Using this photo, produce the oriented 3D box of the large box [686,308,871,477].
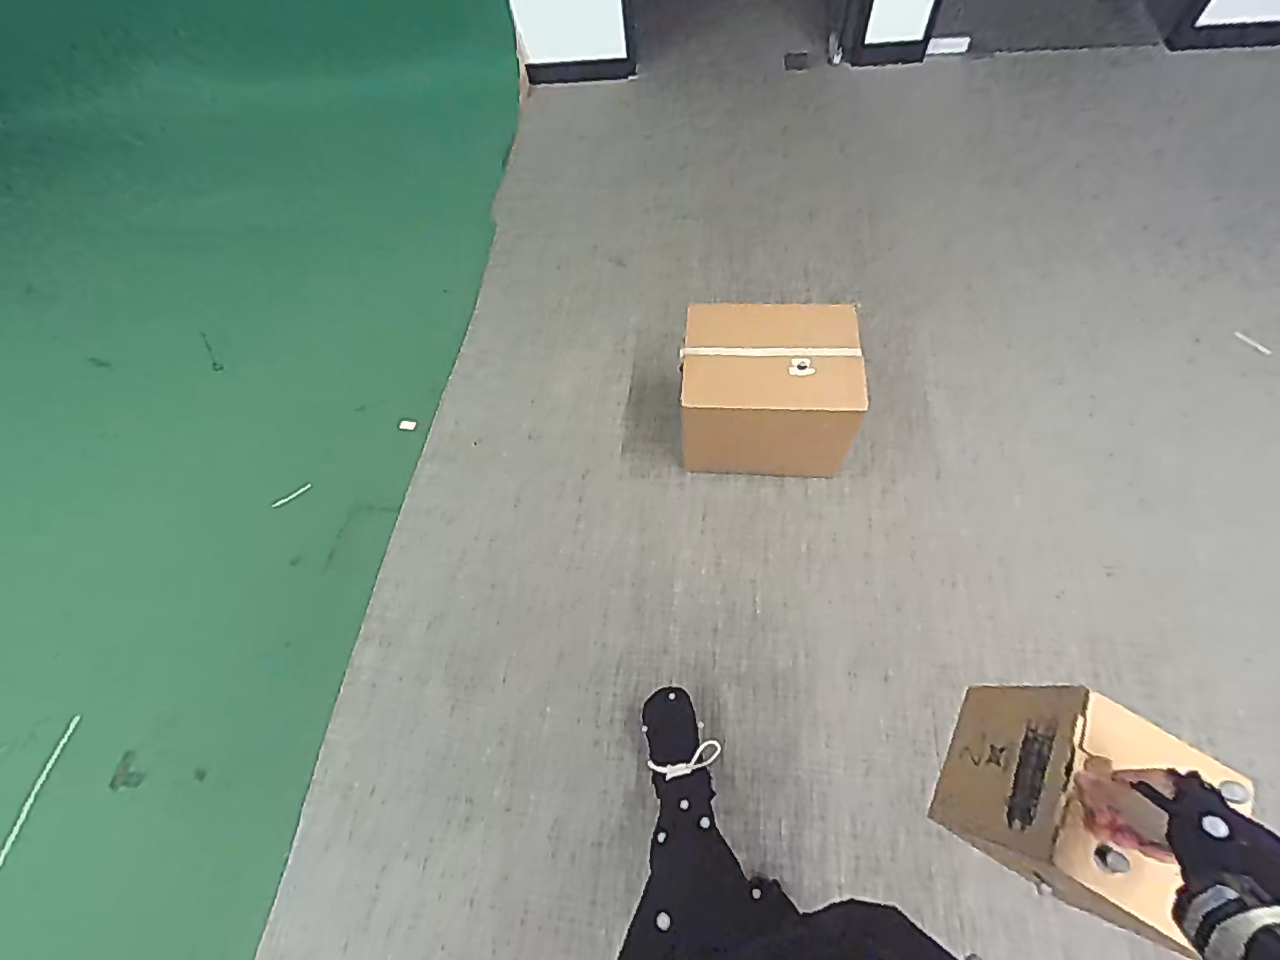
[{"bbox_3d":[0.321,-0.214,1.378,0.408,0.320,0.320,3,63,6],"label":"large box"}]
